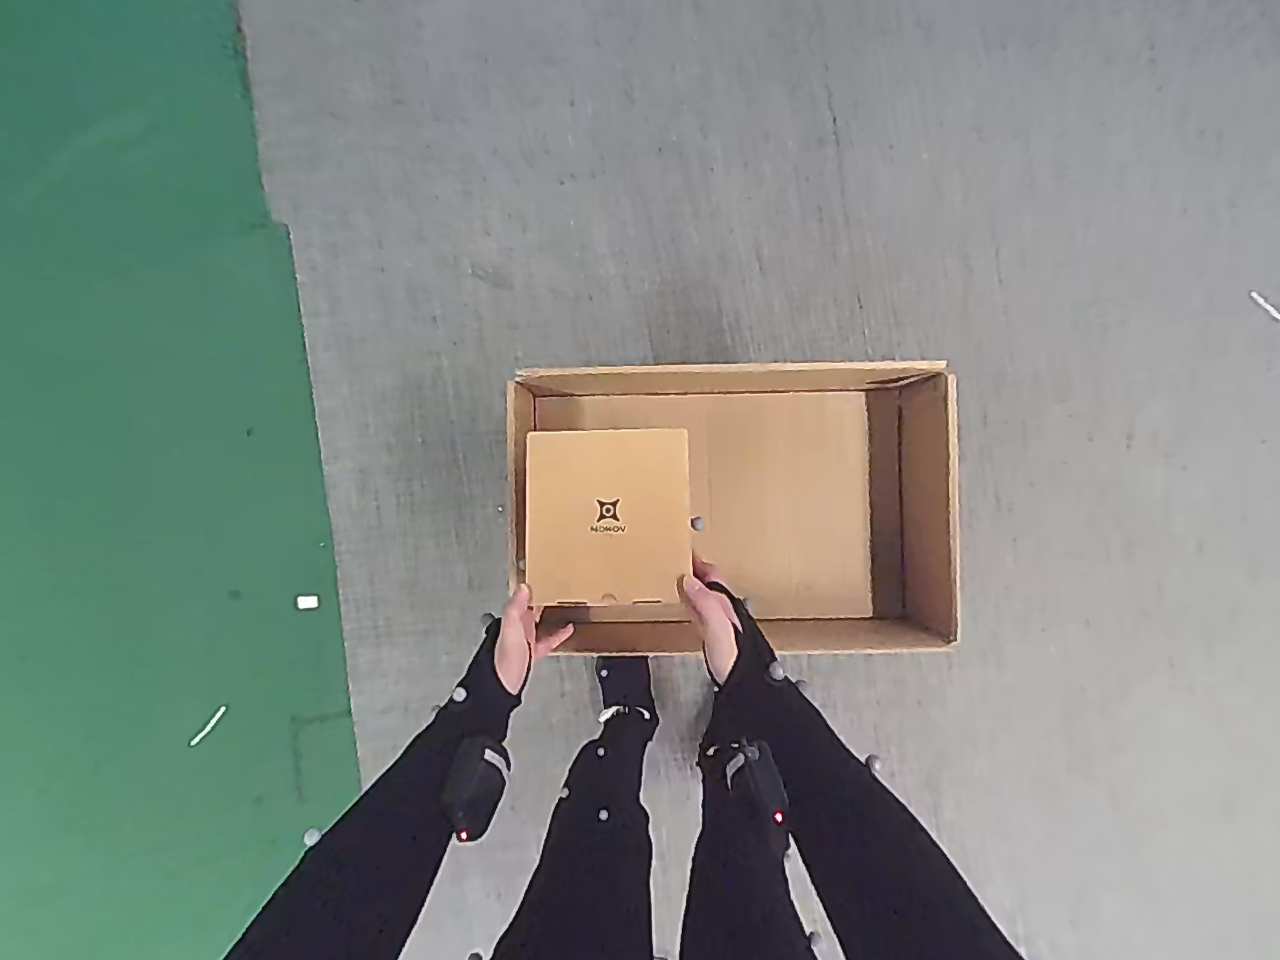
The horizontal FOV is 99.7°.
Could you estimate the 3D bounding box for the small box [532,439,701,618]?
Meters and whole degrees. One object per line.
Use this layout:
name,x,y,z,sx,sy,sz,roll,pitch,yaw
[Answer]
small box,-0.022,0.055,0.609,0.168,0.176,0.179,0,85,1
